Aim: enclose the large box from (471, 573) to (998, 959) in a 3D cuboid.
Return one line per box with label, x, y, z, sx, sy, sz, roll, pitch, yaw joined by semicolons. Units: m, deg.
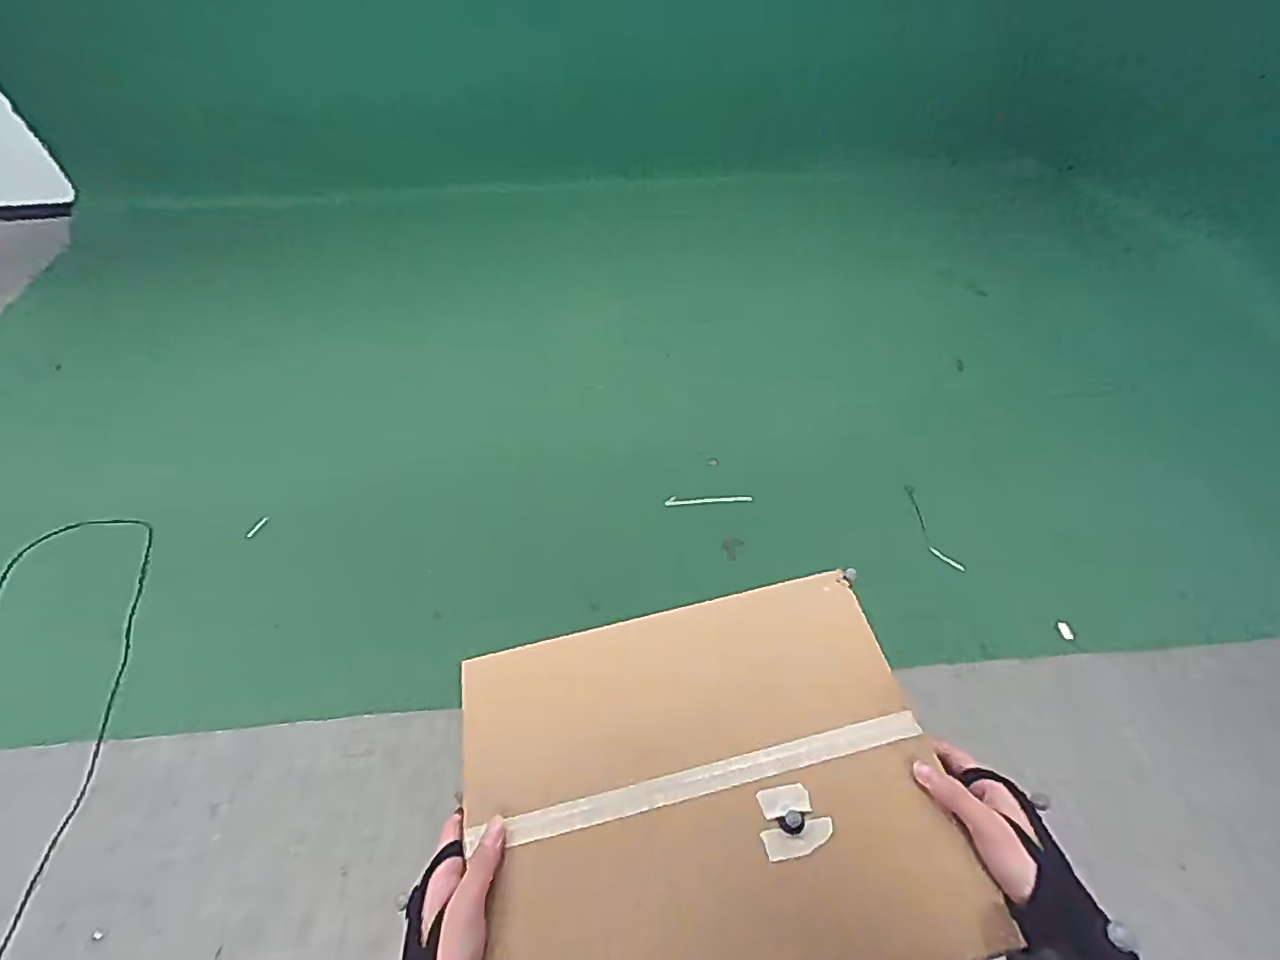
large box;0.061;0.353;0.605;0.408;0.320;0.320;-13;54;-5
